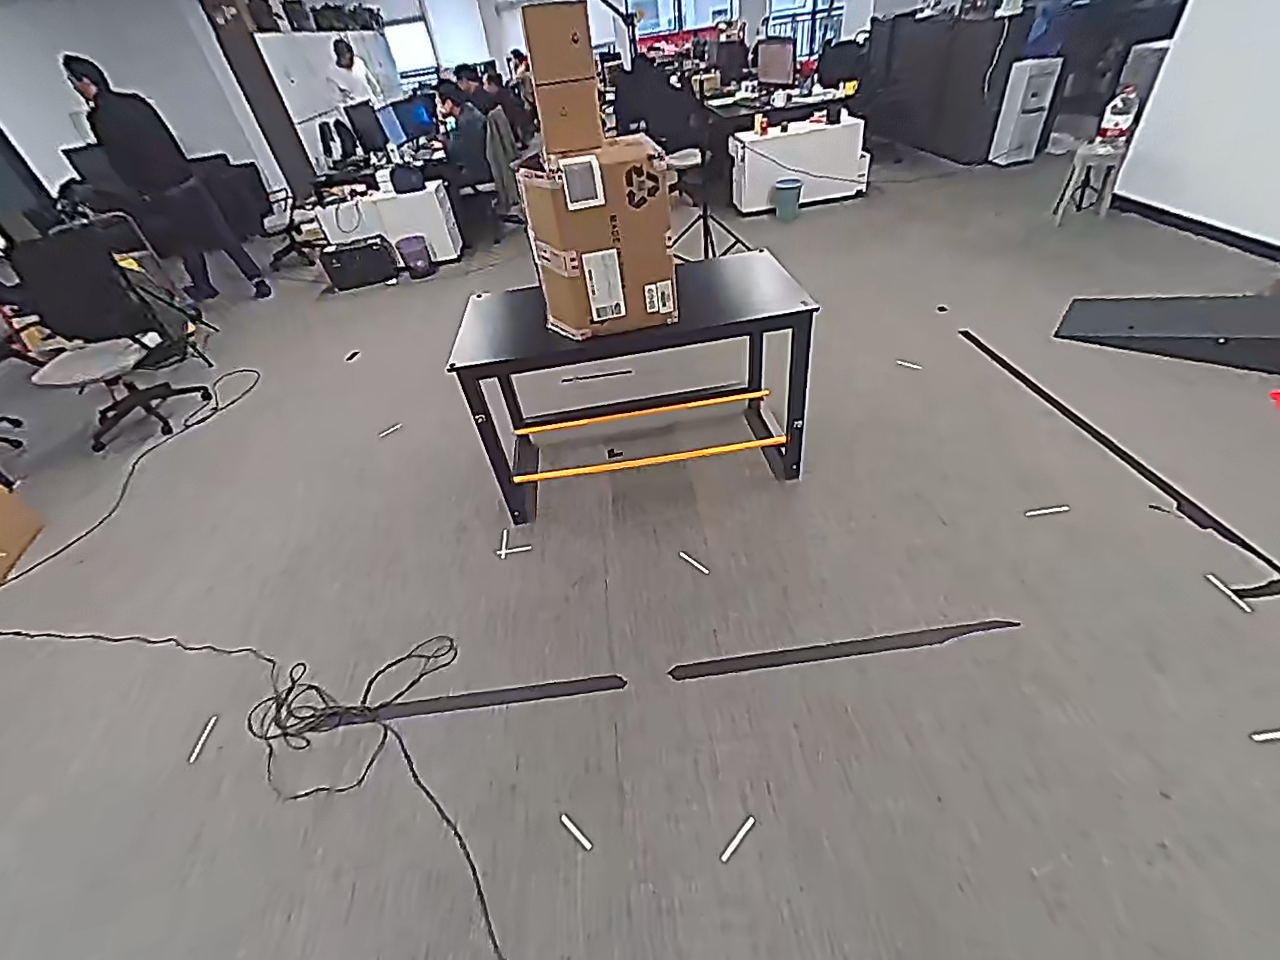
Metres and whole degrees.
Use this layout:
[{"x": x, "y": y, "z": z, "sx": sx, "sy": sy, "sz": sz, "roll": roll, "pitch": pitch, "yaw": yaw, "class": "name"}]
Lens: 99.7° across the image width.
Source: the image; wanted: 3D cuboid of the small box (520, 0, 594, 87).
[{"x": -0.229, "y": -1.210, "z": 1.507, "sx": 0.179, "sy": 0.176, "sz": 0.168, "roll": -12, "pitch": 37, "yaw": -5, "class": "small box"}]

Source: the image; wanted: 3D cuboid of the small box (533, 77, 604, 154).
[{"x": -0.213, "y": -1.086, "z": 1.611, "sx": 0.179, "sy": 0.176, "sz": 0.168, "roll": -11, "pitch": 38, "yaw": -3, "class": "small box"}]
